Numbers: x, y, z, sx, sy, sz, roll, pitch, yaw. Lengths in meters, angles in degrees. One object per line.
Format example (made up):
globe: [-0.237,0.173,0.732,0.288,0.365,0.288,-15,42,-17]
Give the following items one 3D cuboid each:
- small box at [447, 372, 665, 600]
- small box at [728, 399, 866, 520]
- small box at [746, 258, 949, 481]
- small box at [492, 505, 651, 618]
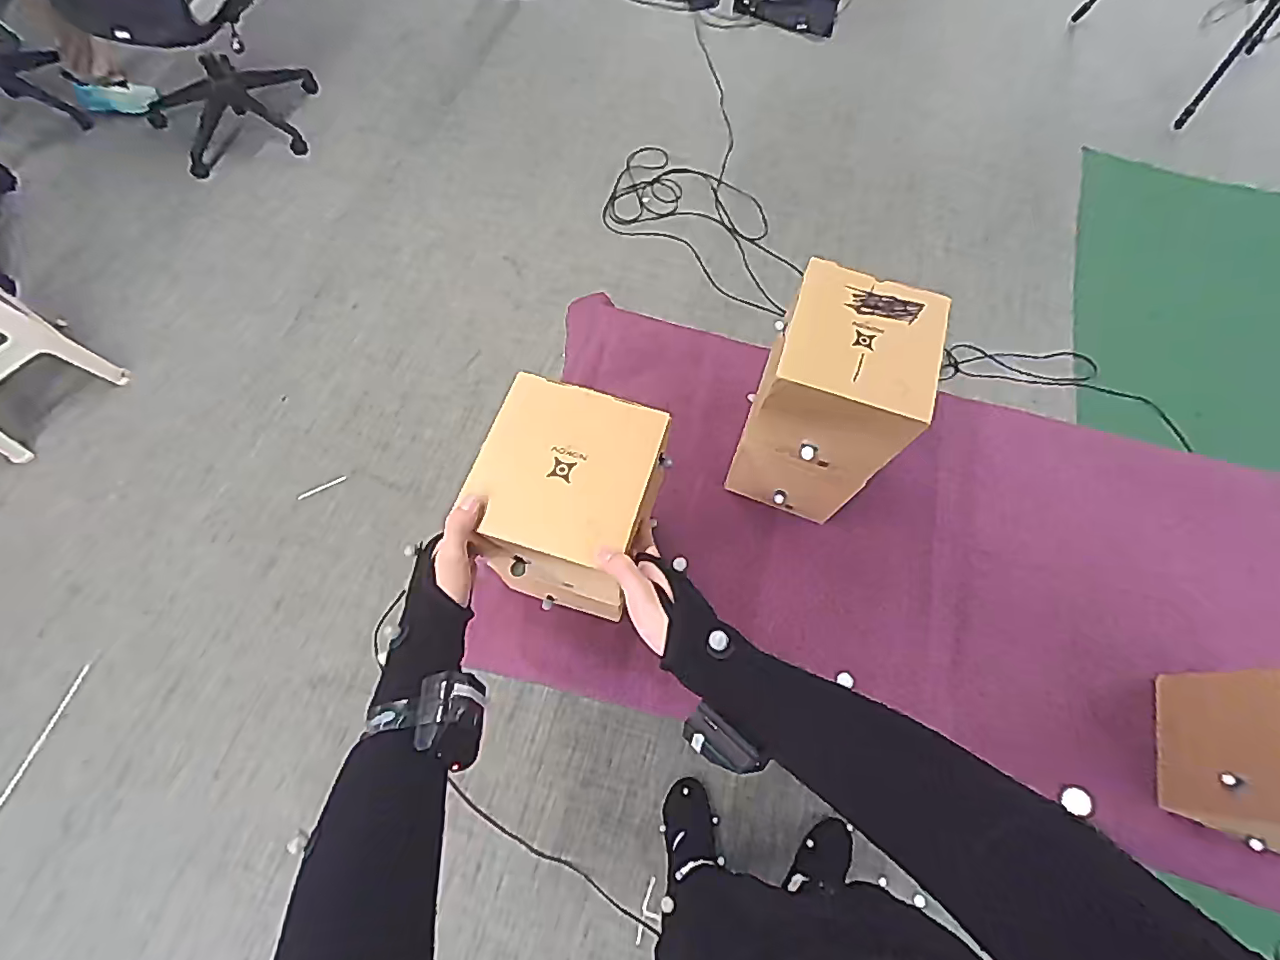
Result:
small box: [-0.076,0.017,0.590,0.168,0.176,0.179,16,67,5]
small box: [0.242,-0.066,0.811,0.168,0.176,0.179,21,69,7]
small box: [0.240,-0.126,0.658,0.168,0.176,0.179,19,69,6]
small box: [-0.083,0.073,0.742,0.168,0.176,0.179,16,68,5]
